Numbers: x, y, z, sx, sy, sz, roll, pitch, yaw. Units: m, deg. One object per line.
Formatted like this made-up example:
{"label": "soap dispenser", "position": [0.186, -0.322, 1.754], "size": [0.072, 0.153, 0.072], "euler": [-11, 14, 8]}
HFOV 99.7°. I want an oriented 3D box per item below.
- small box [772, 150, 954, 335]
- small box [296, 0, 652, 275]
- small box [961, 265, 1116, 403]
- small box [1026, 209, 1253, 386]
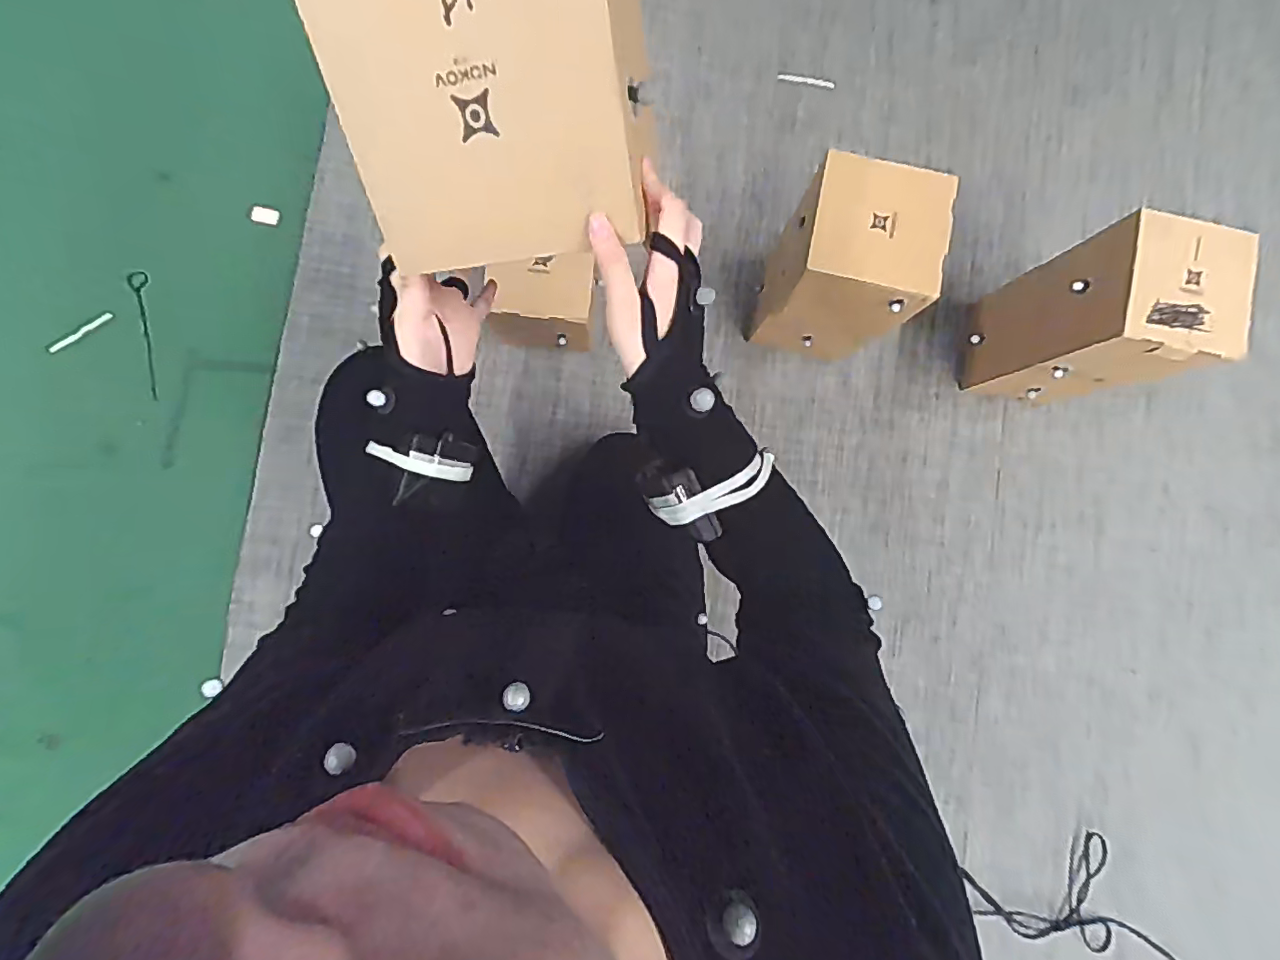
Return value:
{"label": "small box", "position": [0.301, -0.321, 0.767], "size": [0.179, 0.176, 0.168], "euler": [12, 86, -2]}
{"label": "small box", "position": [-0.087, -0.256, 0.370], "size": [0.168, 0.176, 0.179], "euler": [-3, 122, 9]}
{"label": "small box", "position": [0.695, -0.242, 0.944], "size": [0.168, 0.176, 0.179], "euler": [10, 87, -2]}
{"label": "small box", "position": [0.700, -0.247, 0.778], "size": [0.168, 0.176, 0.179], "euler": [12, 85, -2]}
